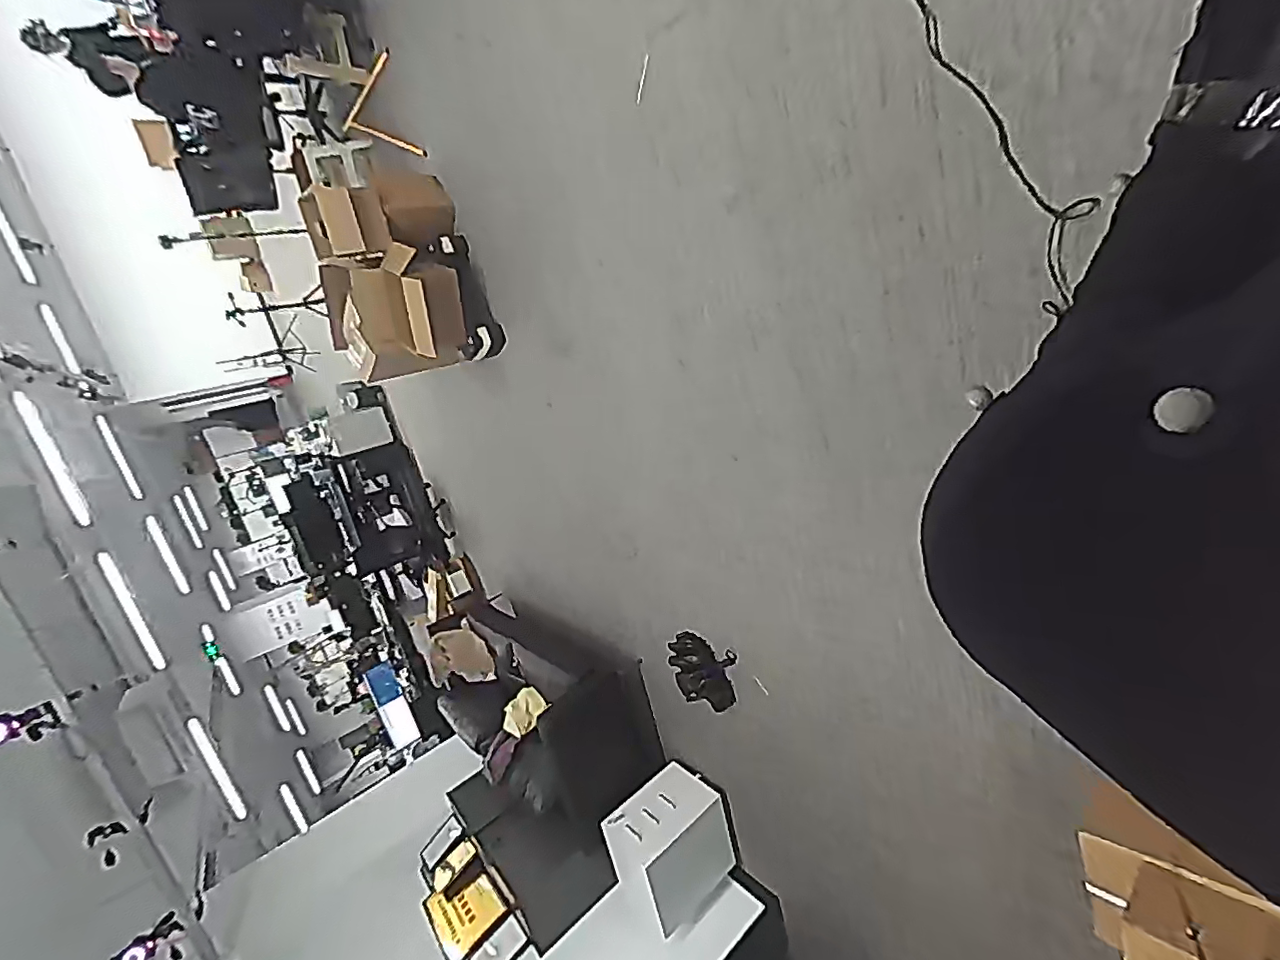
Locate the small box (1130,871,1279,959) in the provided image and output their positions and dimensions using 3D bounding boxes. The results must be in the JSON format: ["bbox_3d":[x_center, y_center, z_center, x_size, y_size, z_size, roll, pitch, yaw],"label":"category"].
[{"bbox_3d":[1.060,0.893,1.013,0.179,0.176,0.168,0,107,55],"label":"small box"}]
